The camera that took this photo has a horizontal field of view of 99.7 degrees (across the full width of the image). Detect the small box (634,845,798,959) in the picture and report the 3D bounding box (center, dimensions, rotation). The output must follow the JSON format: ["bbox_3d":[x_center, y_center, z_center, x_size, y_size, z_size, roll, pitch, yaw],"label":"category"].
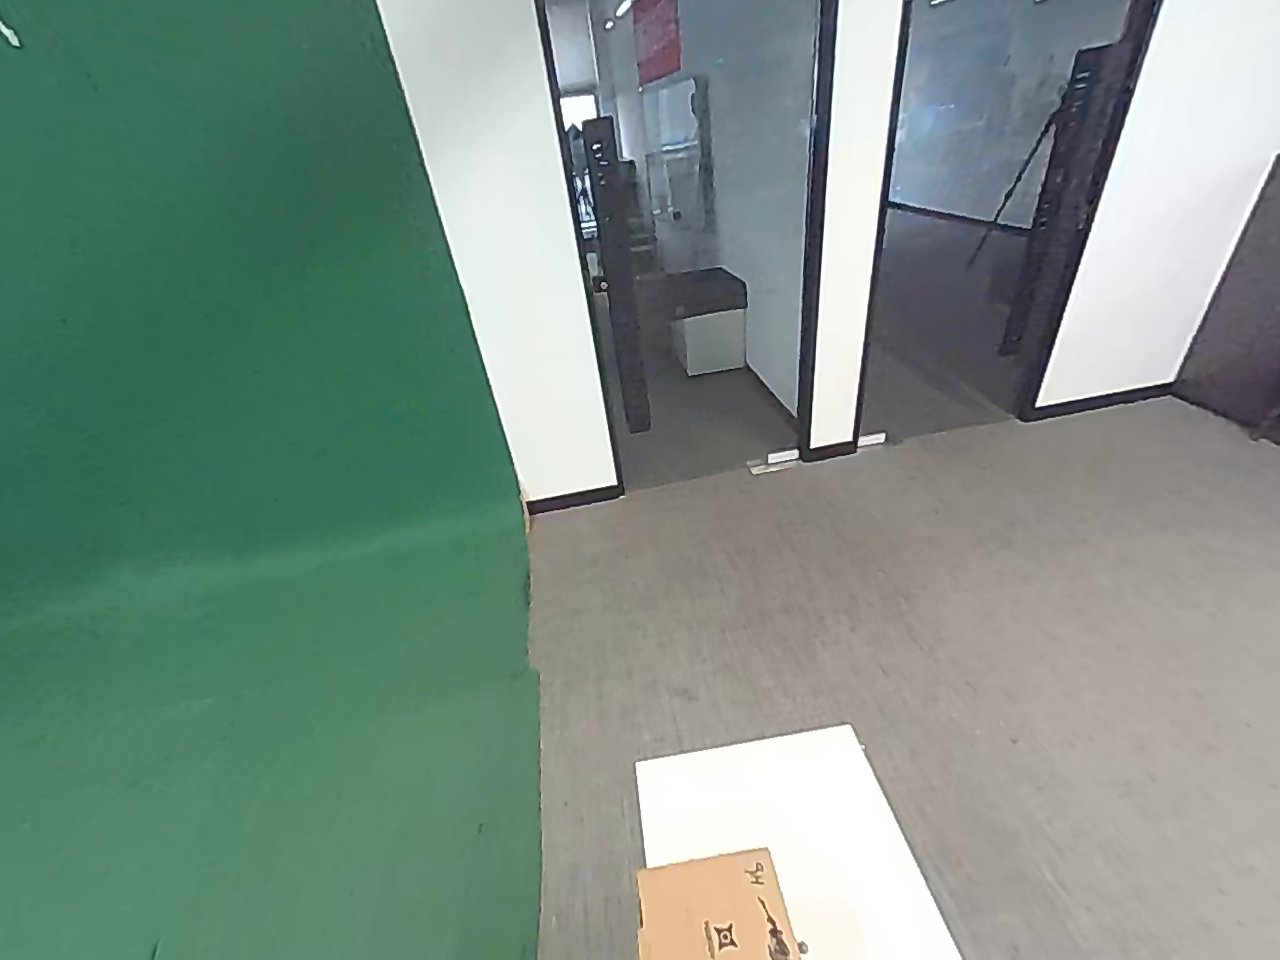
[{"bbox_3d":[0.094,0.591,0.667,0.179,0.176,0.168,-8,34,-2],"label":"small box"}]
